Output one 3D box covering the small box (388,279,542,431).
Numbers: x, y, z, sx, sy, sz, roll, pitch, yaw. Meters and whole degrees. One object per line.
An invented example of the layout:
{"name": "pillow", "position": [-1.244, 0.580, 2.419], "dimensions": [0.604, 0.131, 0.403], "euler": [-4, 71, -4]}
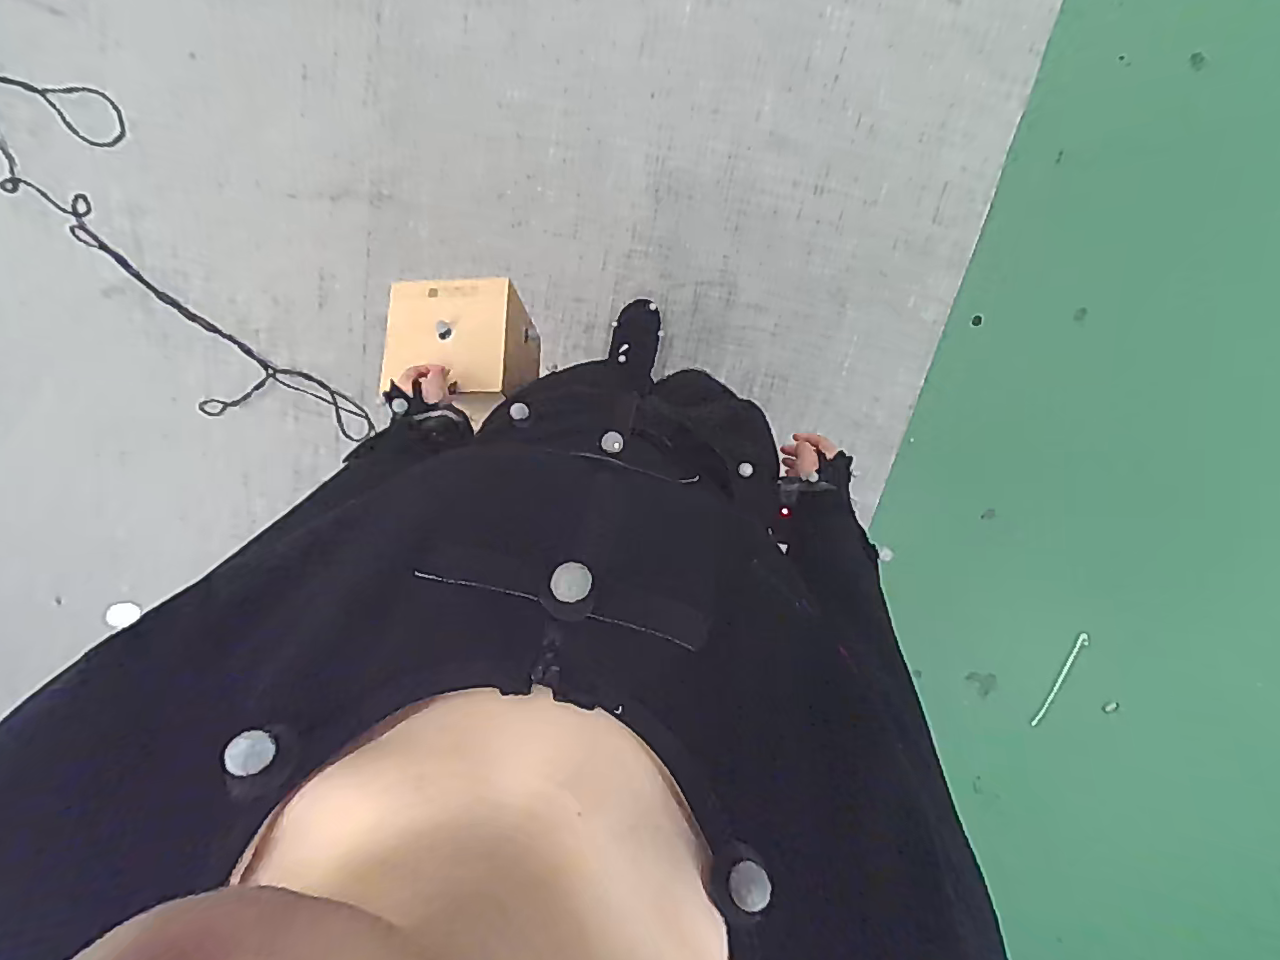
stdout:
{"name": "small box", "position": [-0.245, -0.179, 0.794], "dimensions": [0.168, 0.179, 0.176], "euler": [-1, 78, 4]}
